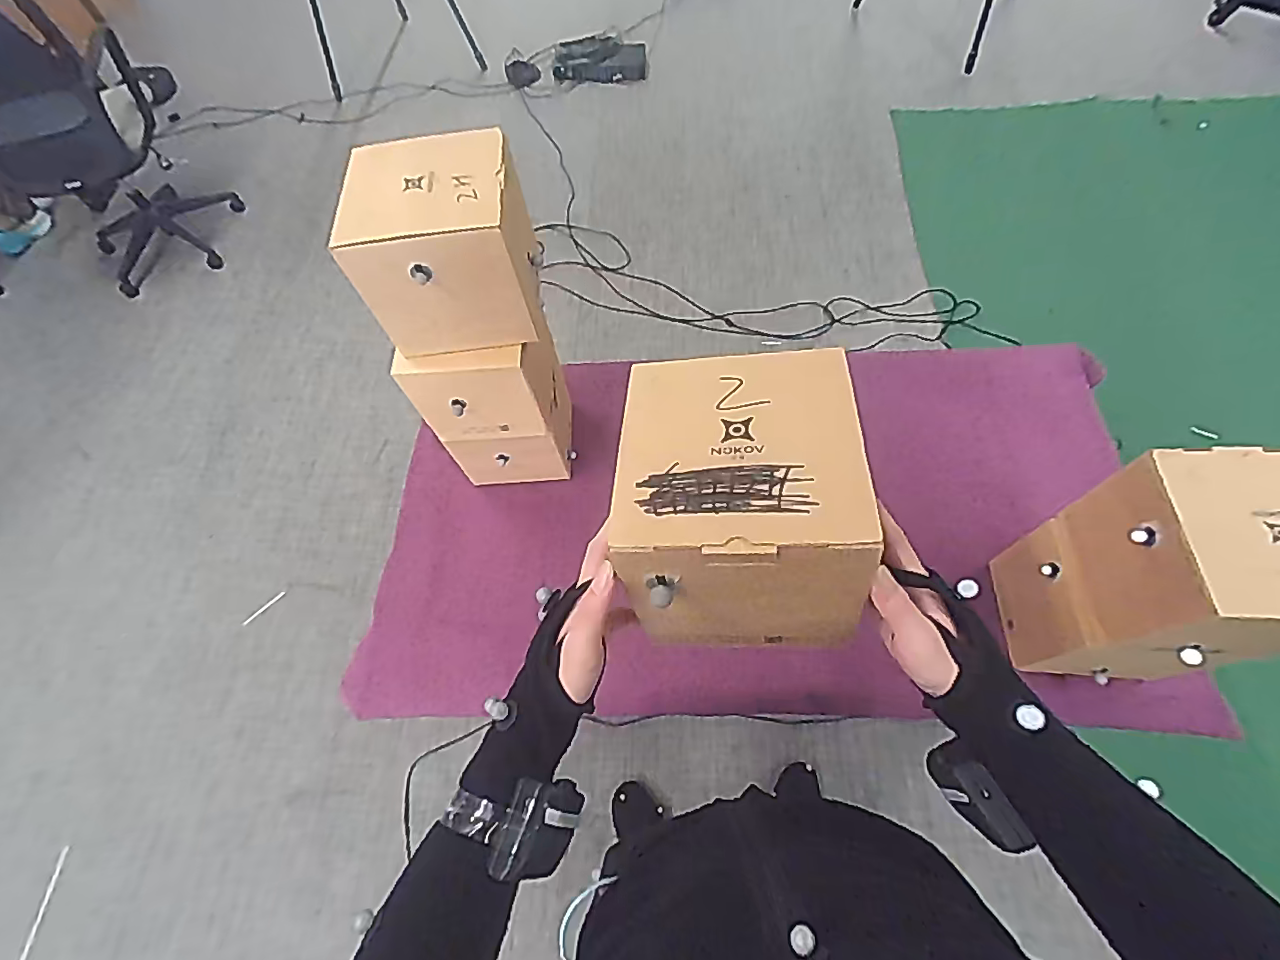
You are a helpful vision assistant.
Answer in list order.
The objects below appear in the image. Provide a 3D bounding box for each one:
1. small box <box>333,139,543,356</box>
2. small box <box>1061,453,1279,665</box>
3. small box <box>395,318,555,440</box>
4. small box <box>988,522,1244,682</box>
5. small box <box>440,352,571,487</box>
[{"bbox_3d":[-0.221,-0.266,0.643,0.179,0.176,0.168,-6,63,1],"label":"small box"},{"bbox_3d":[0.599,0.089,0.579,0.168,0.176,0.179,1,62,8],"label":"small box"},{"bbox_3d":[-0.222,-0.168,0.778,0.168,0.176,0.179,-3,62,3],"label":"small box"},{"bbox_3d":[0.609,0.168,0.721,0.179,0.176,0.168,3,62,6],"label":"small box"},{"bbox_3d":[-0.216,-0.098,0.924,0.179,0.176,0.168,-4,63,3],"label":"small box"}]
